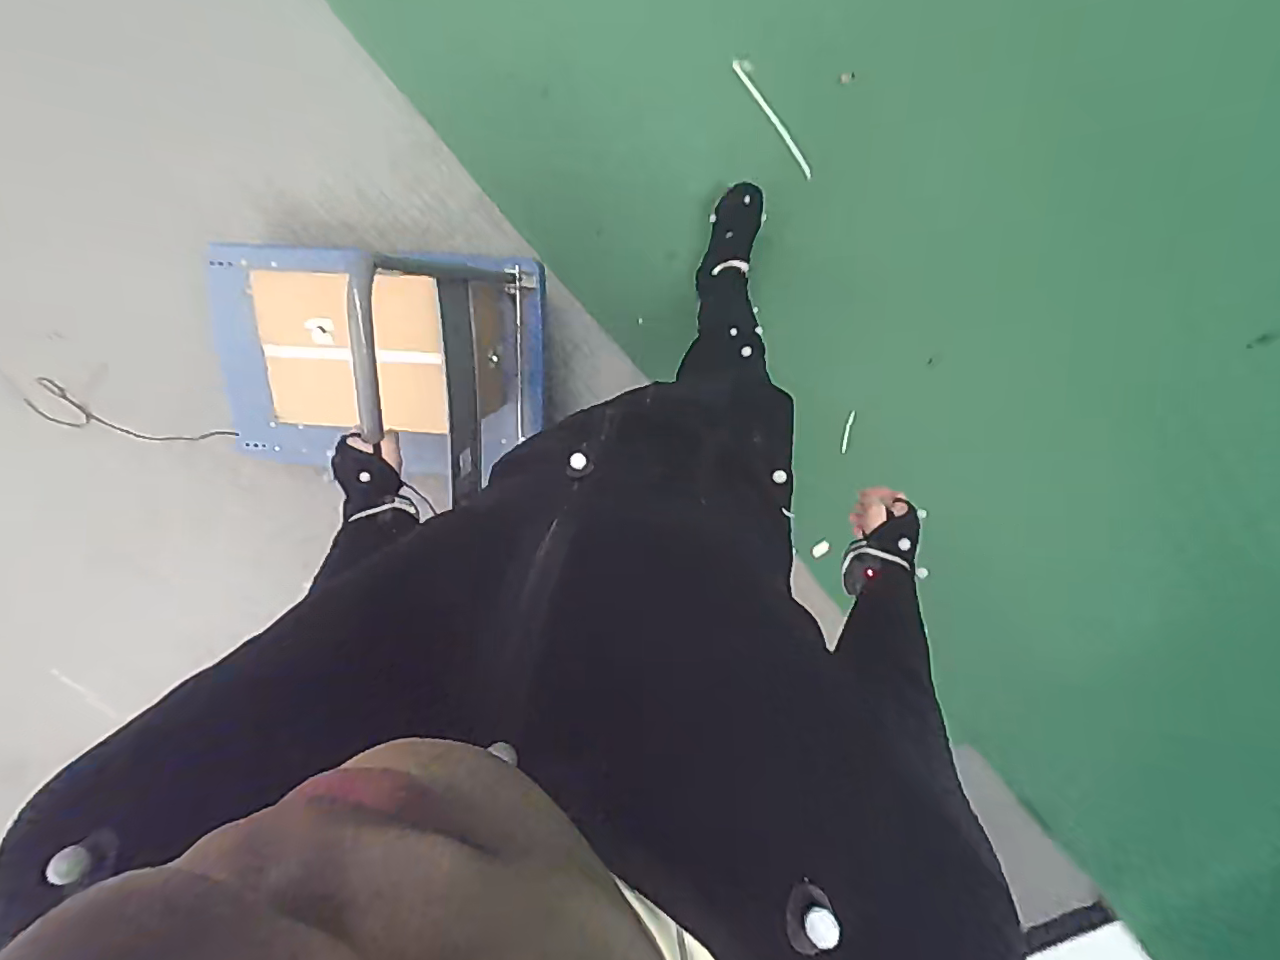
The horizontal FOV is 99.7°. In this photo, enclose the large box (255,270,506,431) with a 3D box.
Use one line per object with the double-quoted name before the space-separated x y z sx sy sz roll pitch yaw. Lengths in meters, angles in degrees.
"large box" -0.555 -0.307 1.240 0.408 0.320 0.320 4 108 4
